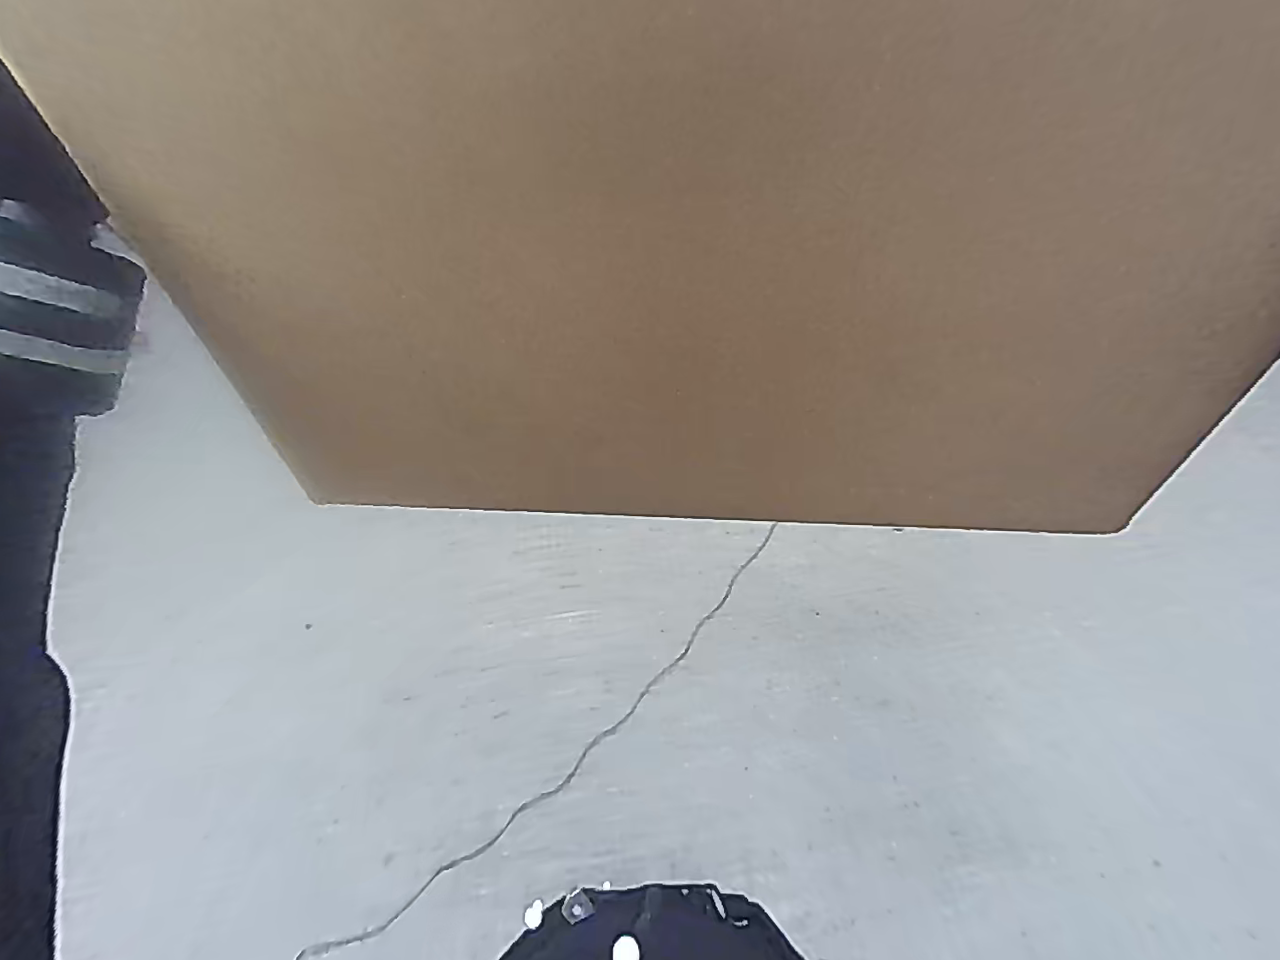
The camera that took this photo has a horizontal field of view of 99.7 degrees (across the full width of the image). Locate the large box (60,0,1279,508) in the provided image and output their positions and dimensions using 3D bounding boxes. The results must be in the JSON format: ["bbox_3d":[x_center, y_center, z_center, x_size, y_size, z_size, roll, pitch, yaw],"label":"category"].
[{"bbox_3d":[0.036,-0.200,0.284,0.408,0.320,0.320,3,45,4],"label":"large box"}]
